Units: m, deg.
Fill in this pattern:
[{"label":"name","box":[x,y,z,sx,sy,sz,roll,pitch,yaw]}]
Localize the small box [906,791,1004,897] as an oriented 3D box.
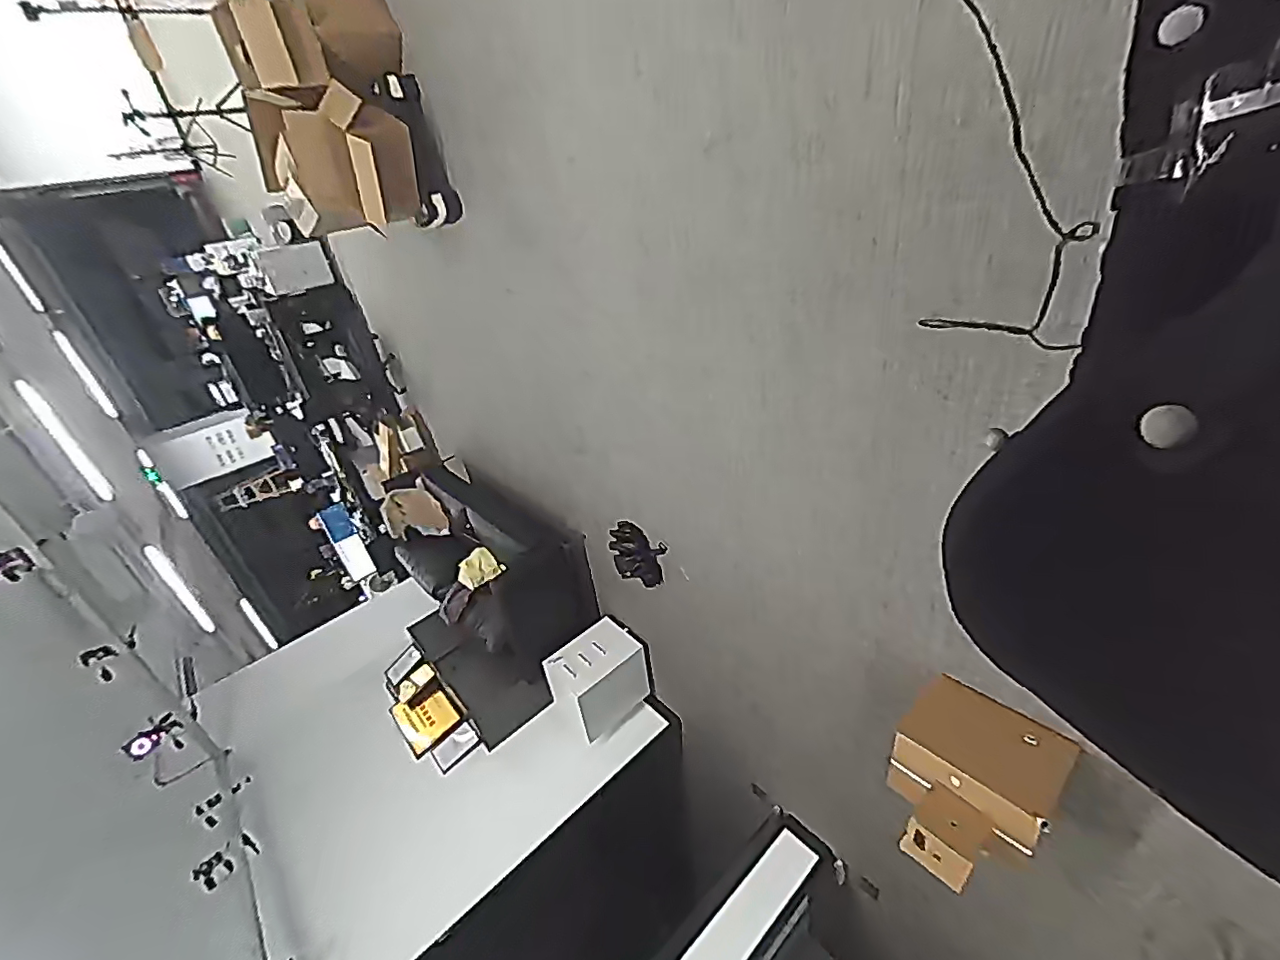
[{"label":"small box","box":[0.925,1.057,1.590,0.179,0.176,0.168,30,134,39]}]
